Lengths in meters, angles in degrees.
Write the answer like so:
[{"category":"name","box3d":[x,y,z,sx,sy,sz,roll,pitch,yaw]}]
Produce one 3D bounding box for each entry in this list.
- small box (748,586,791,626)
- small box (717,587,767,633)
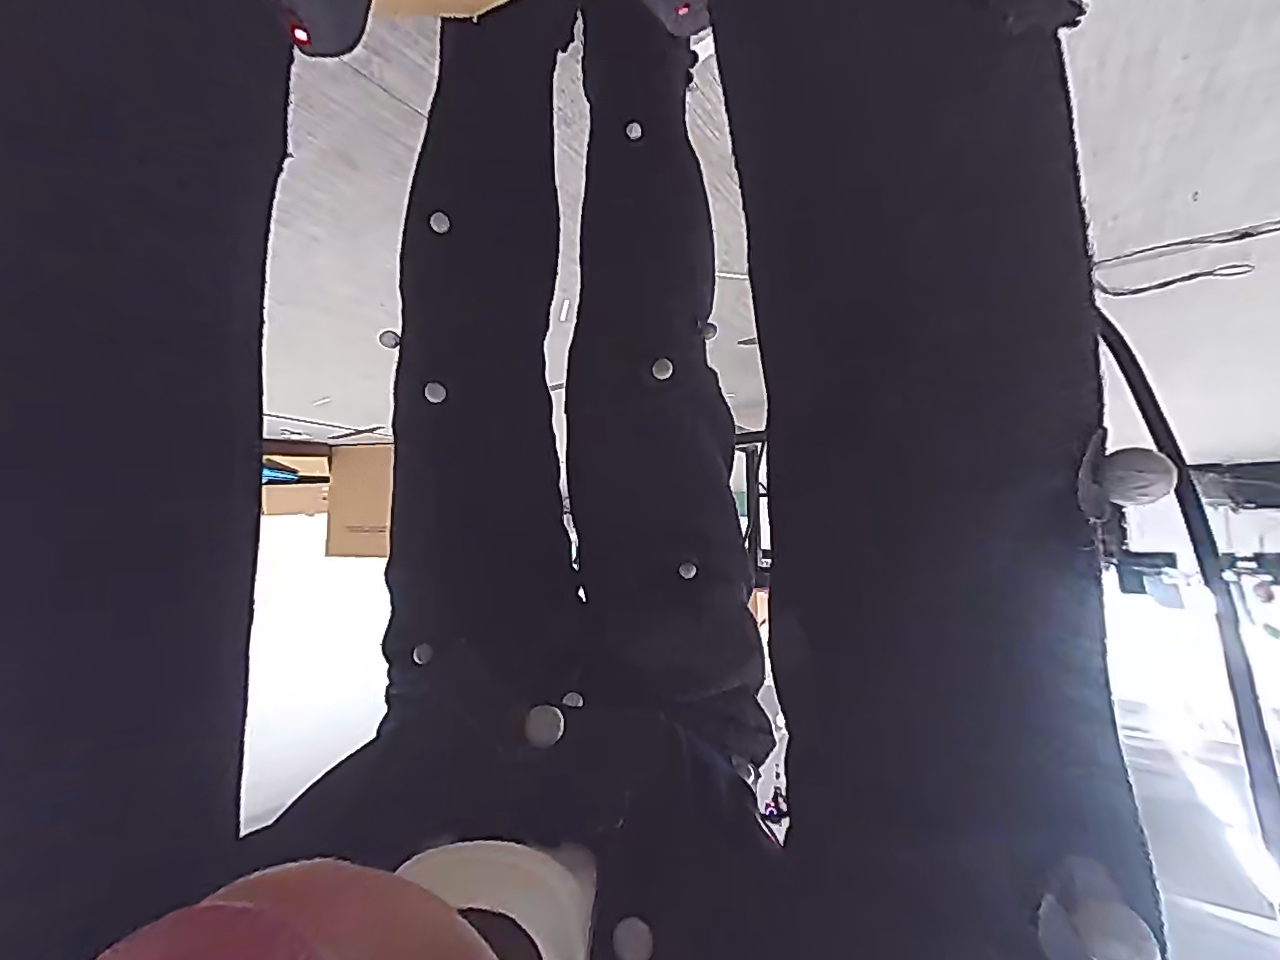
[{"category":"small box","box3d":[0.605,0.590,2.553,0.179,0.176,0.168,-5,170,36]},{"category":"small box","box3d":[0.449,0.567,2.376,0.179,0.176,0.168,-4,173,30]}]
